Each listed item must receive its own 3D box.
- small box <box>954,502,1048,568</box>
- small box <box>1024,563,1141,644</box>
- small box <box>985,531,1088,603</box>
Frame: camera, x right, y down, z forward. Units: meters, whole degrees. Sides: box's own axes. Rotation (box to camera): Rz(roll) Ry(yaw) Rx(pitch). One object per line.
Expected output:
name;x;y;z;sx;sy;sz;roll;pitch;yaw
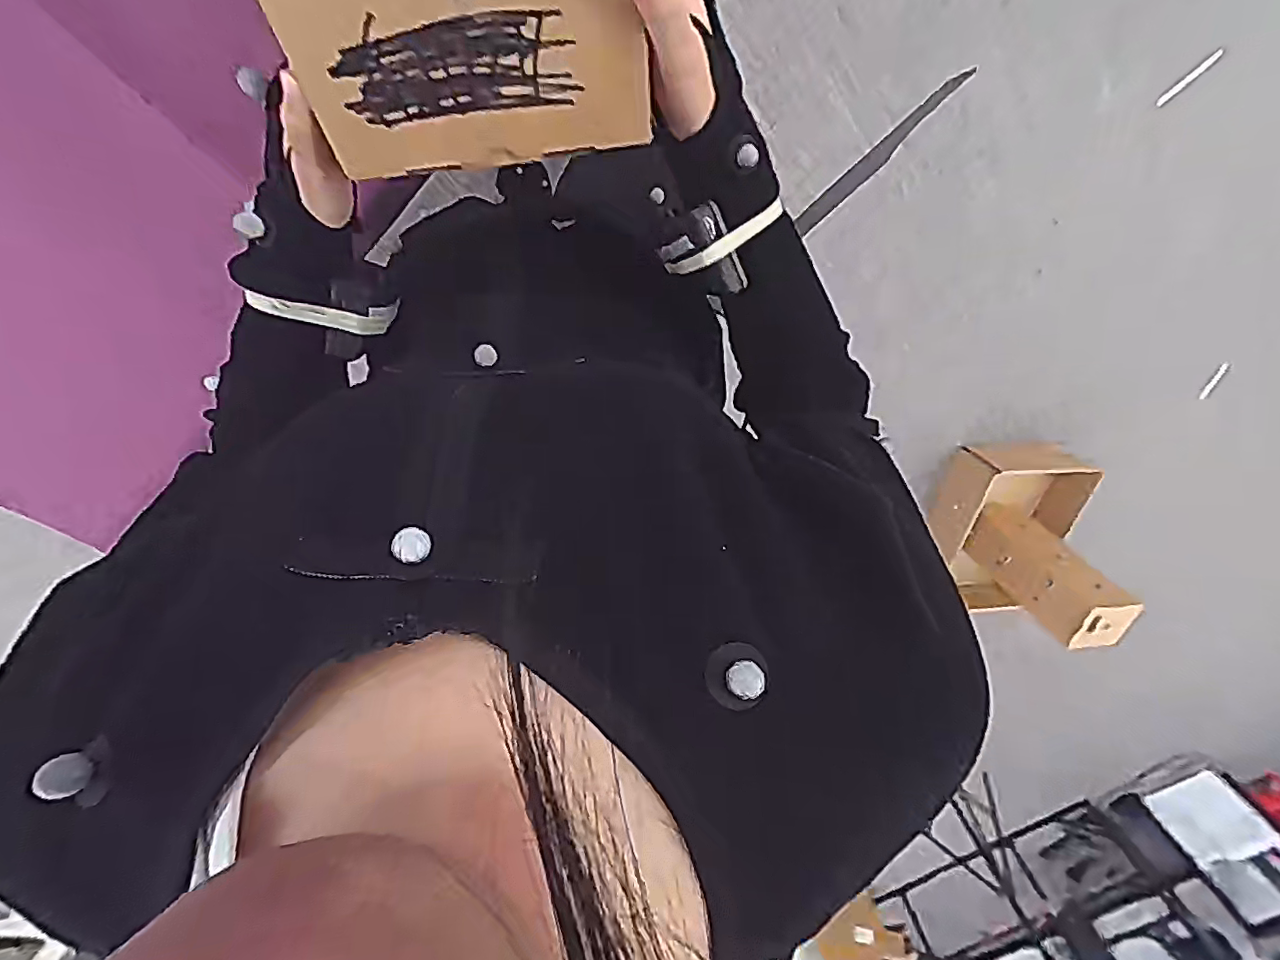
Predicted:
small box;1.250;0.190;1.883;0.179;0.176;0.168;1;122;-11
small box;1.306;0.364;1.613;0.179;0.176;0.168;-2;122;-11
small box;1.276;0.277;1.749;0.179;0.176;0.168;0;122;-10
